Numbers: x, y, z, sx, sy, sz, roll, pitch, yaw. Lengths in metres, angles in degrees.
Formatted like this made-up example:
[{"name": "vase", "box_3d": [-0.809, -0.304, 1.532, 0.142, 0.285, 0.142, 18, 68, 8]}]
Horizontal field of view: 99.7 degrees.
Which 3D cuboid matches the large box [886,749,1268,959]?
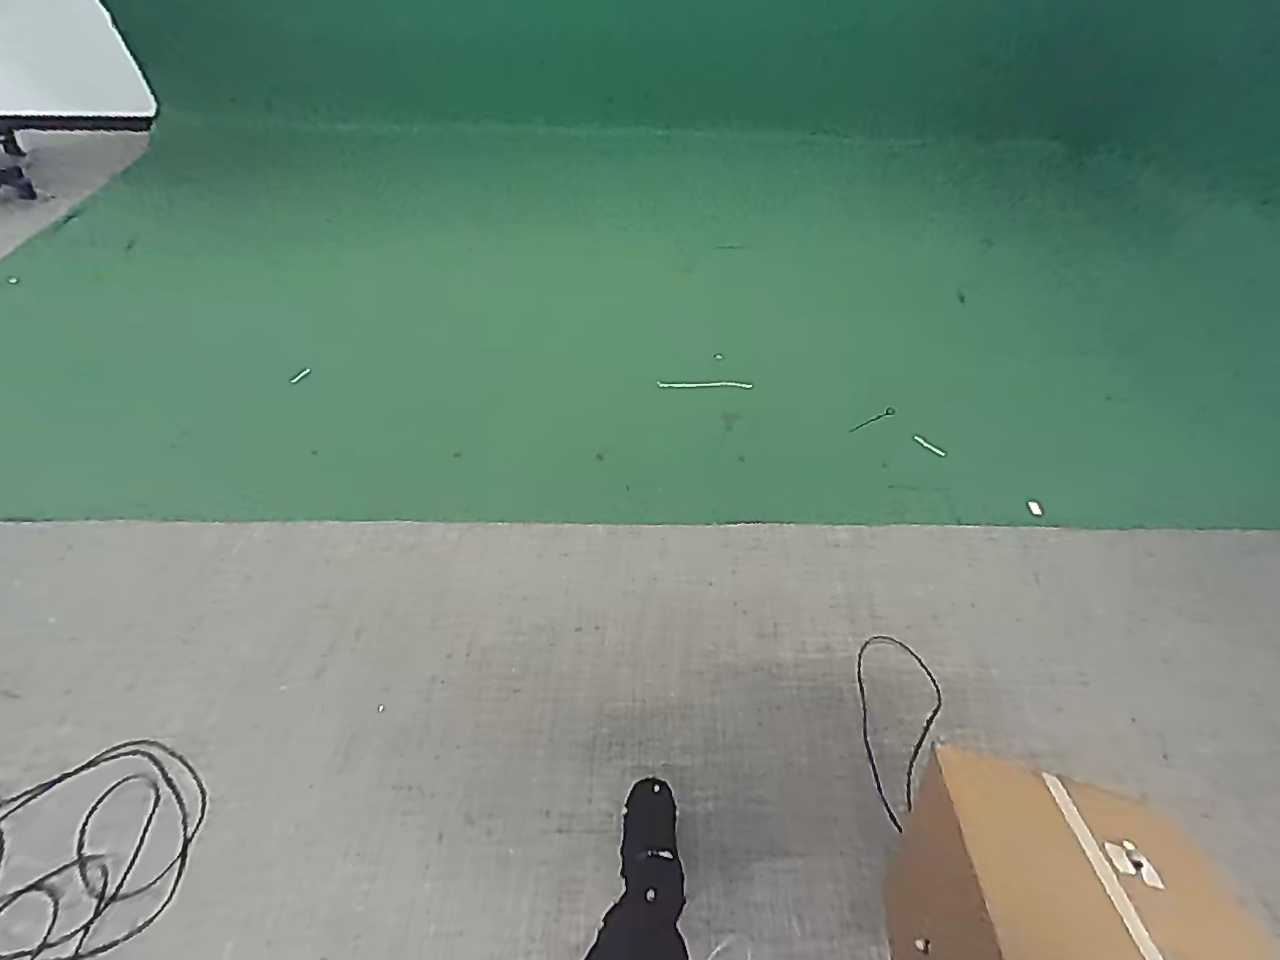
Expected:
[{"name": "large box", "box_3d": [0.531, 0.642, 0.675, 0.320, 0.320, 0.408, 13, 16, 14]}]
